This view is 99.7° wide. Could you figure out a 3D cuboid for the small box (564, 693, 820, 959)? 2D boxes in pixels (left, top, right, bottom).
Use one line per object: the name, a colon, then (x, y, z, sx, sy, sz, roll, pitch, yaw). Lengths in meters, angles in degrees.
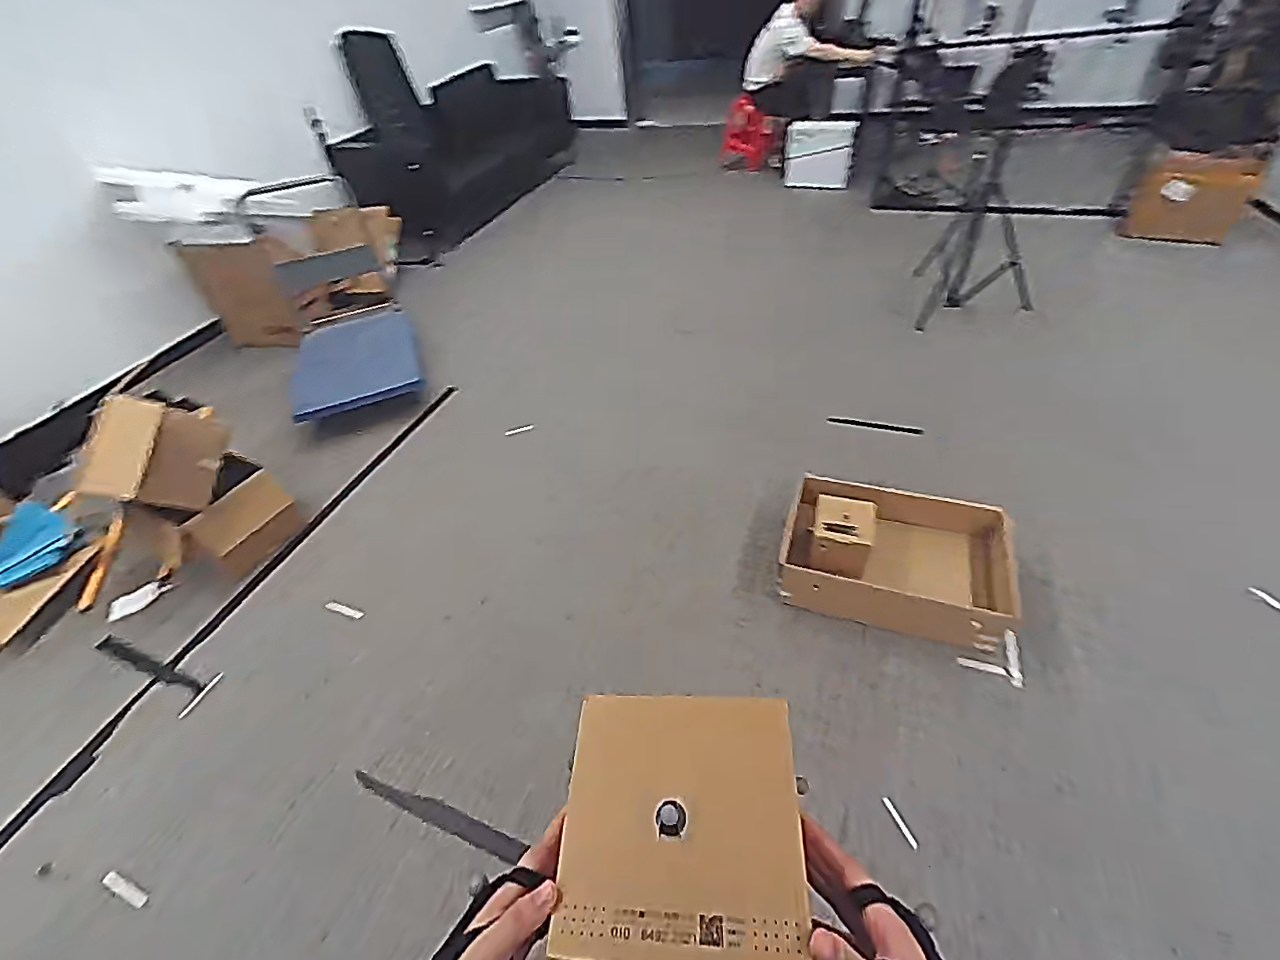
small box: (0.046, 0.289, 0.435, 0.168, 0.179, 0.176, -2, 46, 11)
